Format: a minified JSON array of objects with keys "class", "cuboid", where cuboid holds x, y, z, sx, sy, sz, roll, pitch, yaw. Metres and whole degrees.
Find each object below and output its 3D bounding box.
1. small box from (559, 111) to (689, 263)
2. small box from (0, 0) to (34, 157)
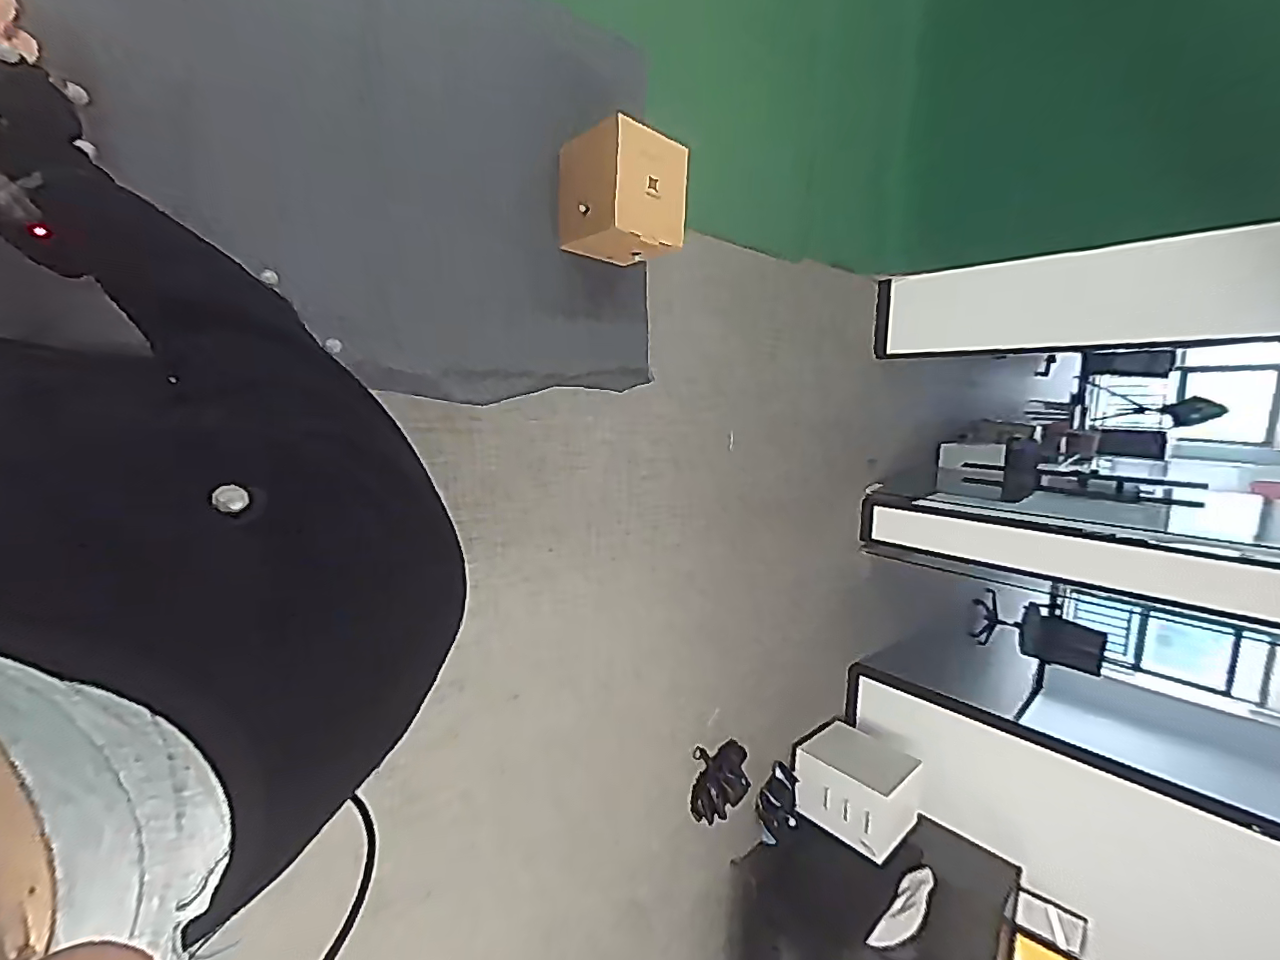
[{"class":"small box","cuboid":[-0.031,-0.502,0.961,0.168,0.176,0.179,-6,99,-43]},{"class":"small box","cuboid":[-0.627,-0.386,0.429,0.168,0.176,0.179,-12,105,-42]}]
